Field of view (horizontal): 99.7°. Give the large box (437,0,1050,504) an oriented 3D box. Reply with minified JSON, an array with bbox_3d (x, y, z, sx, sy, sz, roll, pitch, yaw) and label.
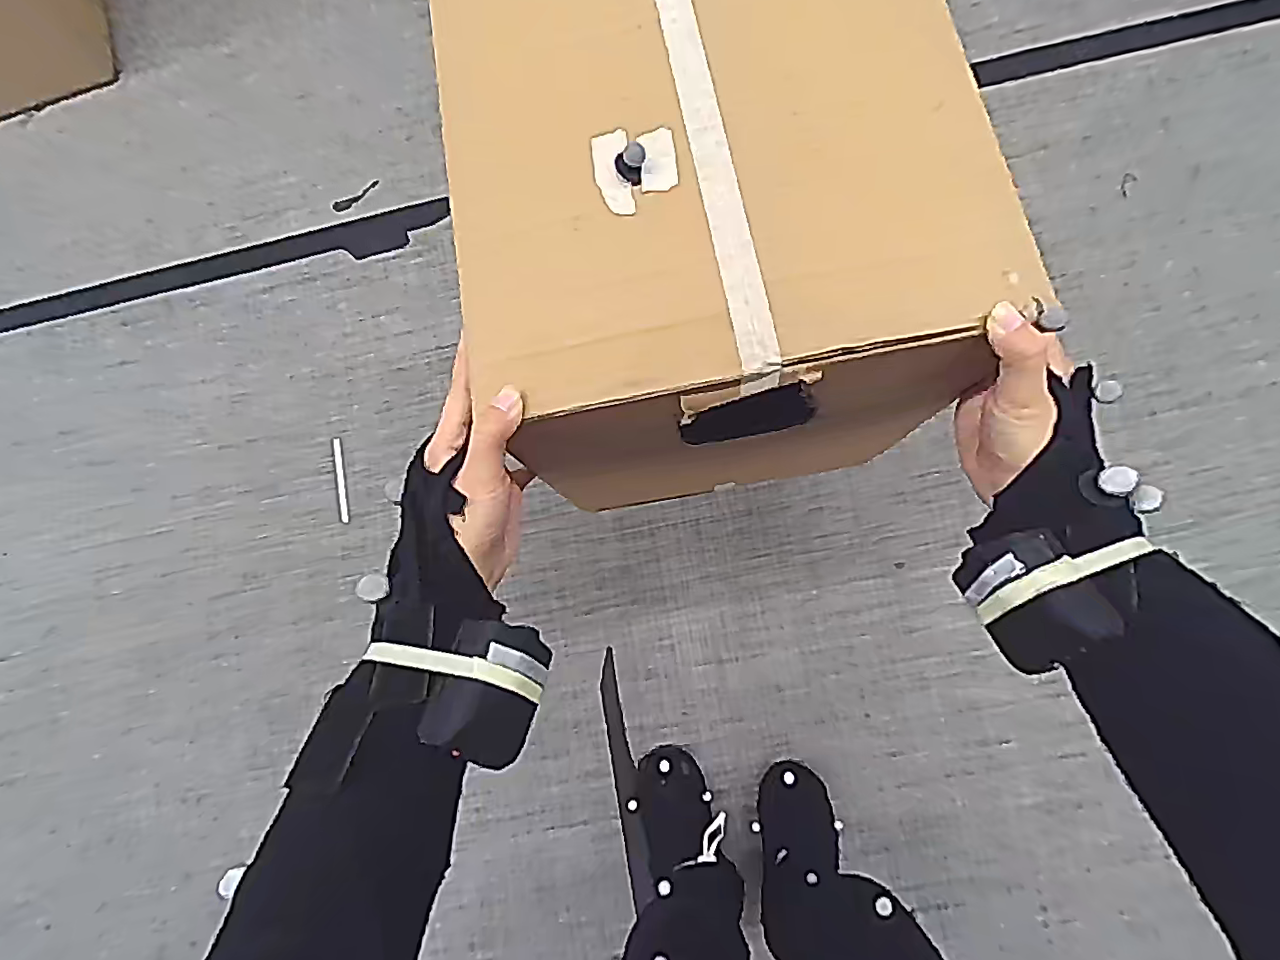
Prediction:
[{"bbox_3d":[0.047,-0.220,0.484,0.320,0.320,0.408,-12,78,4],"label":"large box"}]
